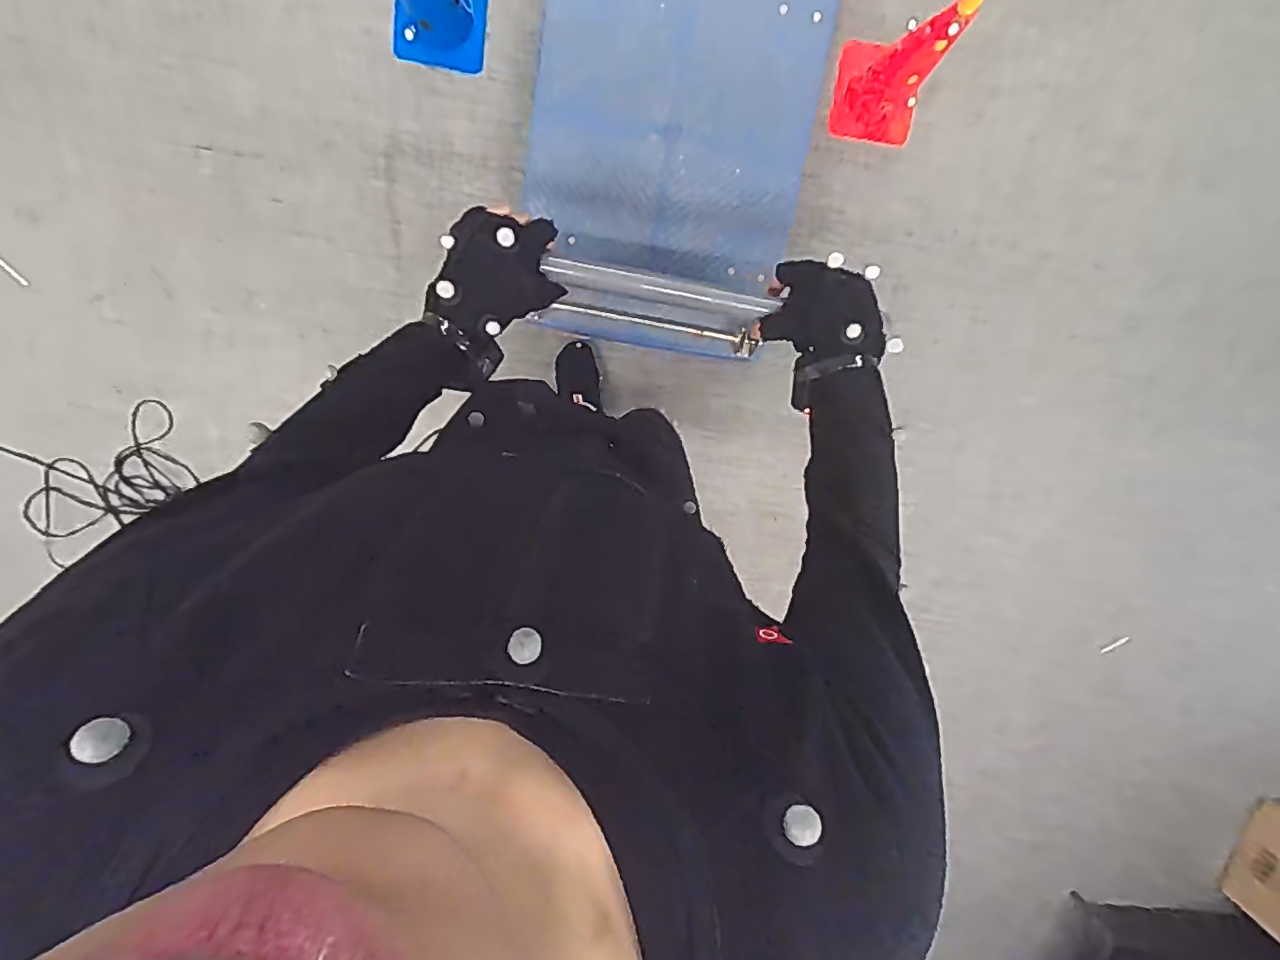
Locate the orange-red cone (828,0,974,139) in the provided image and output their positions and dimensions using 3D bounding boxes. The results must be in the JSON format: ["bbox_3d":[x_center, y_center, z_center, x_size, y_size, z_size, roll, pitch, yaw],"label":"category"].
[{"bbox_3d":[0.560,-0.884,1.112,0.199,0.360,0.198,8,104,-3],"label":"orange-red cone"}]
